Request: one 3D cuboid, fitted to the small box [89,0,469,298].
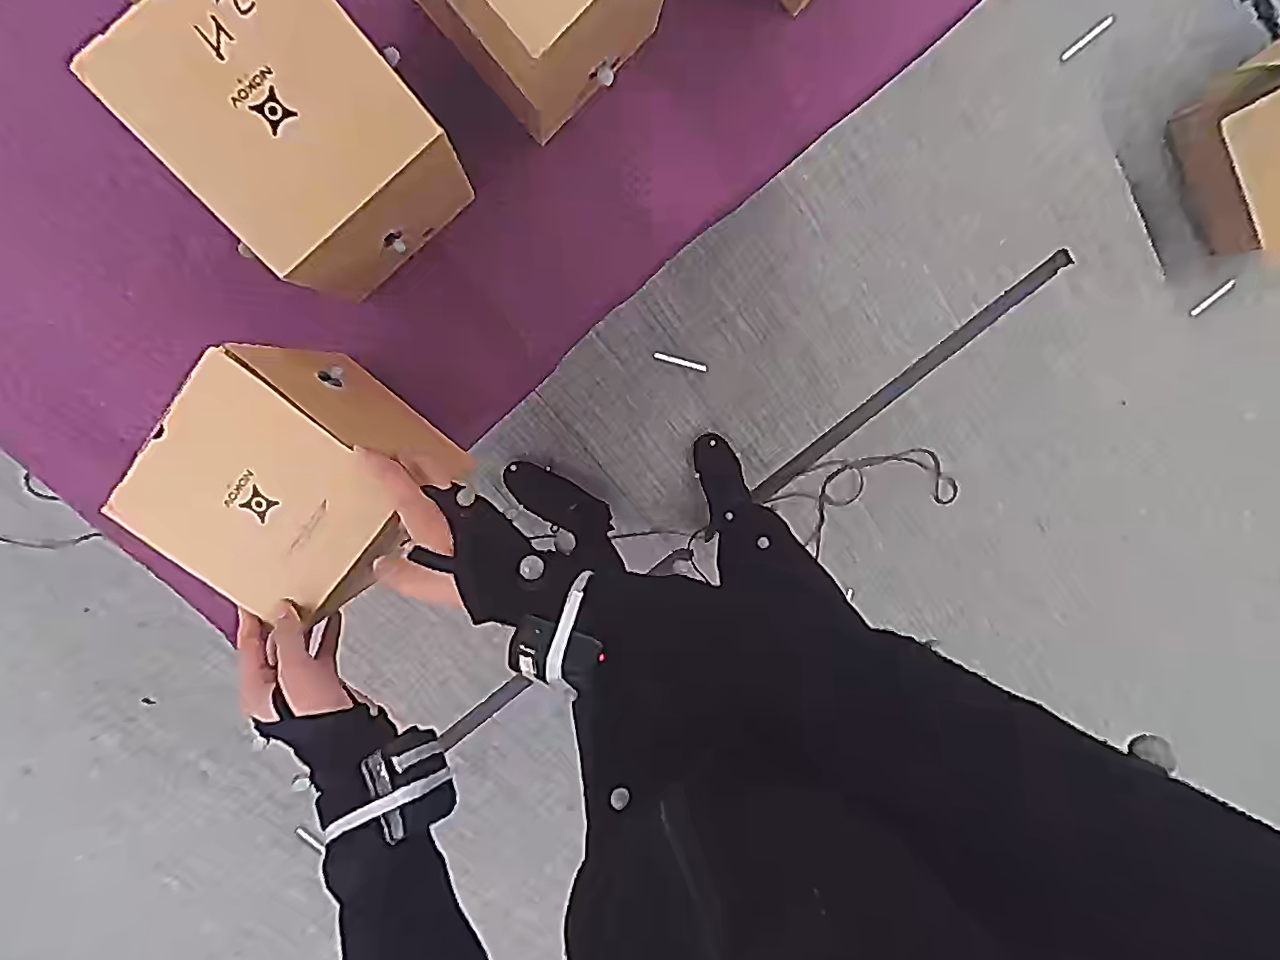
[{"bbox_3d":[-0.273,-0.276,0.465,0.168,0.176,0.179,-41,104,1],"label":"small box"}]

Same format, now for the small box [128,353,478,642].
[{"bbox_3d":[-0.287,0.007,0.502,0.179,0.176,0.168,40,99,-4],"label":"small box"}]

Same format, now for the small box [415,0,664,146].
[{"bbox_3d":[-0.091,-0.435,0.460,0.168,0.176,0.179,-44,105,2],"label":"small box"}]
